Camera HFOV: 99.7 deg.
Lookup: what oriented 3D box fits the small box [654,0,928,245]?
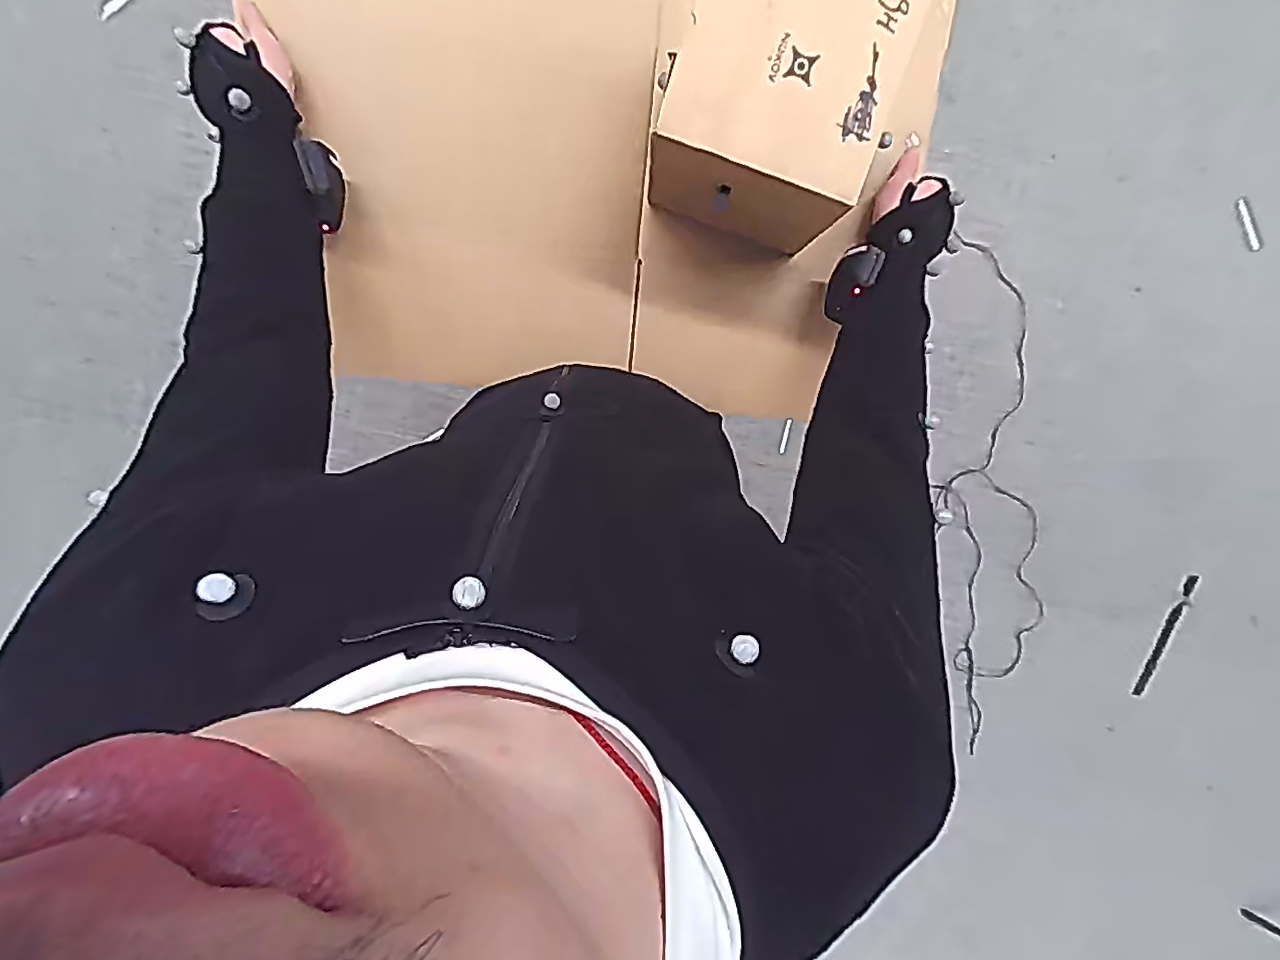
[{"bbox_3d":[0.119,-0.342,0.504,0.179,0.176,0.168,18,99,-3],"label":"small box"}]
